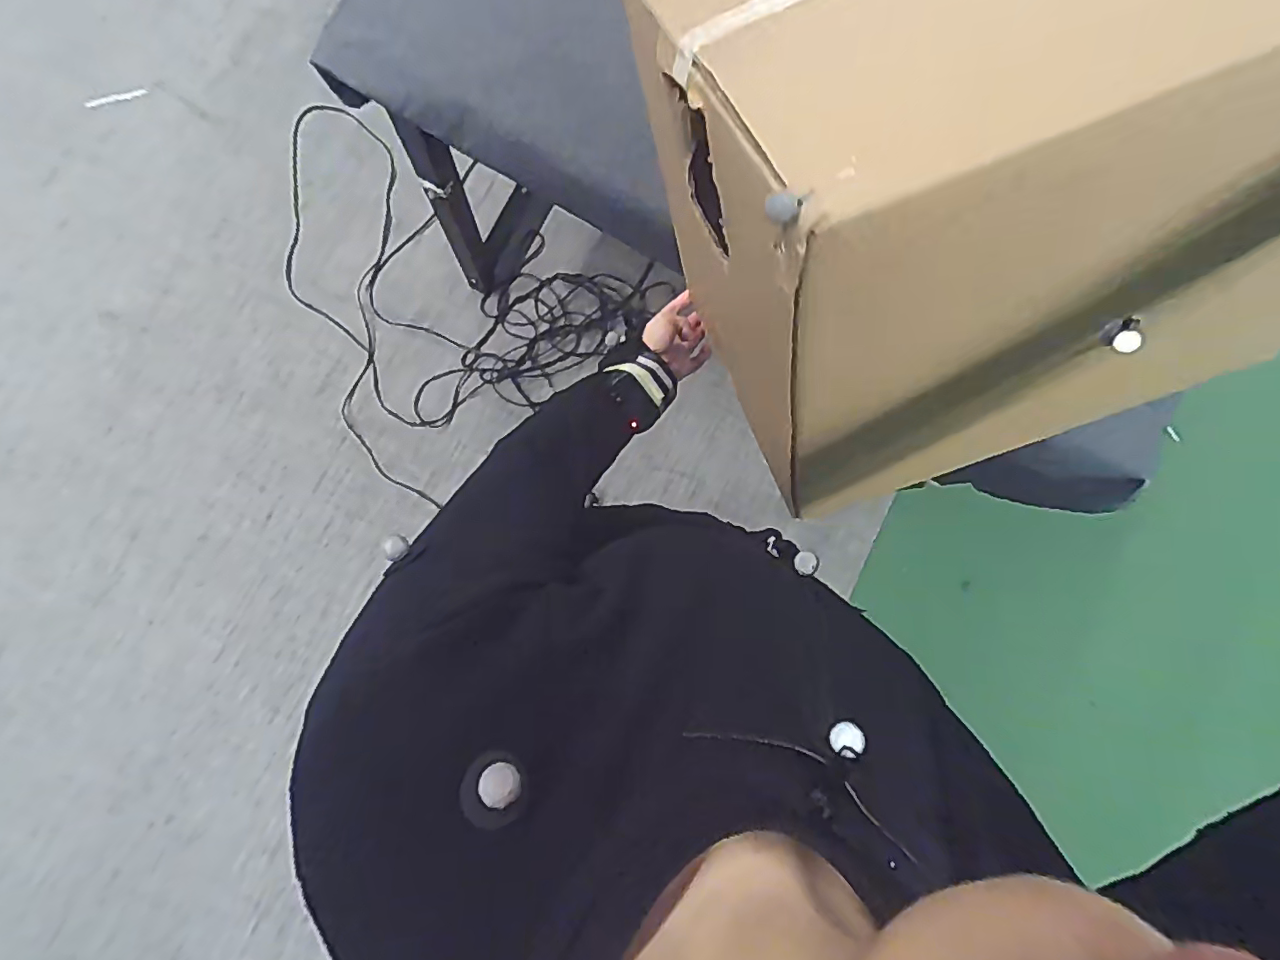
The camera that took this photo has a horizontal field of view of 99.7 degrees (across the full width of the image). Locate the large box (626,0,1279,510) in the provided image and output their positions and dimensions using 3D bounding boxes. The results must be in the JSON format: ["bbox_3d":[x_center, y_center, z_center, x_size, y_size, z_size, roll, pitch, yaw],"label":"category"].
[{"bbox_3d":[0.254,-0.229,0.411,0.408,0.320,0.320,-22,59,6],"label":"large box"}]
